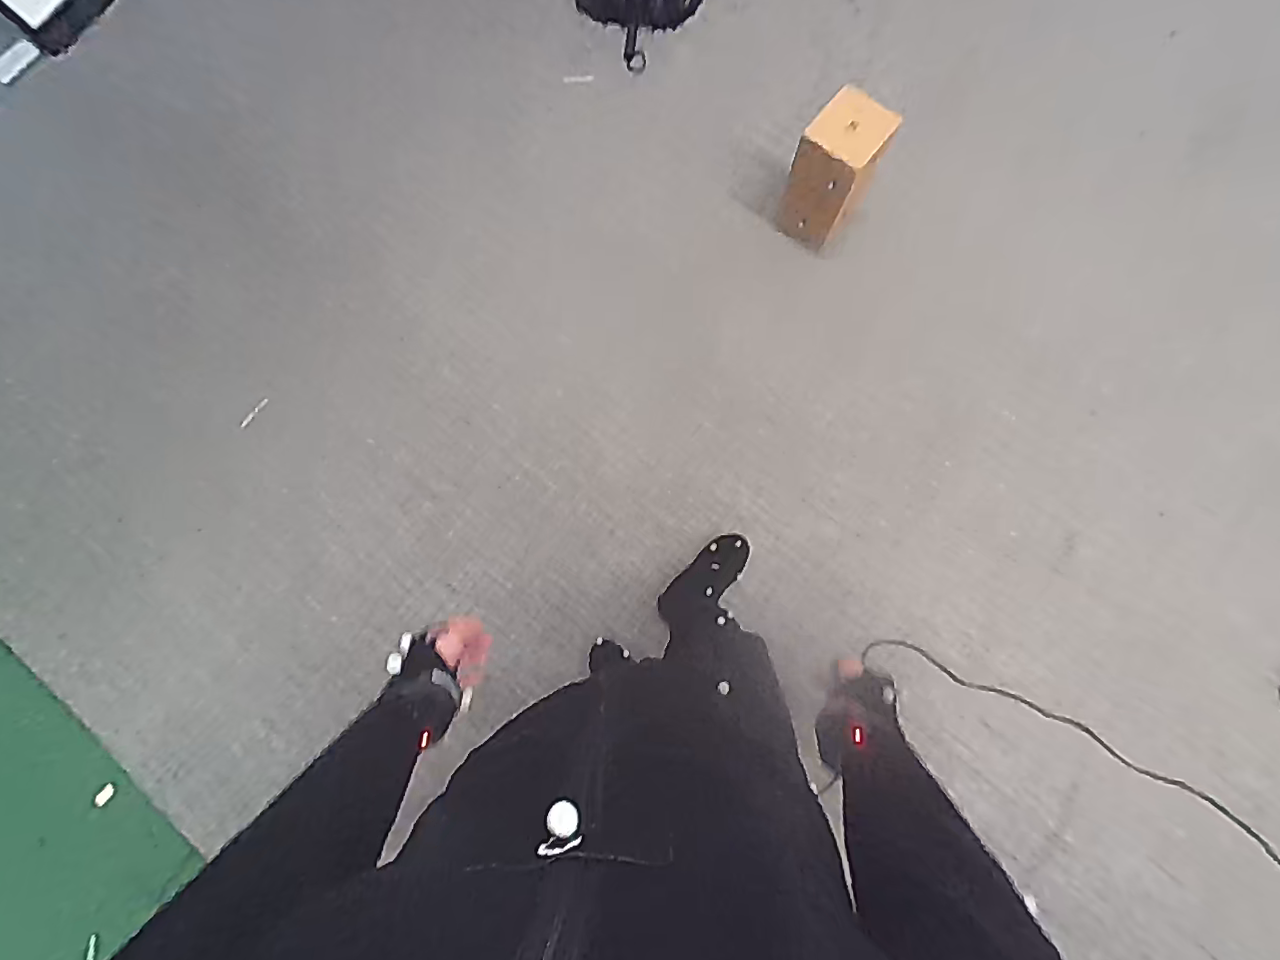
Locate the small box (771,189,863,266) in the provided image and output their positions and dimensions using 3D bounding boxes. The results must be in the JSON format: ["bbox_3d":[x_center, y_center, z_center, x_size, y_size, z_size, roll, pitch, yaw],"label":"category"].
[{"bbox_3d":[0.490,-0.749,1.533,0.168,0.176,0.179,38,83,9],"label":"small box"}]

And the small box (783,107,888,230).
[{"bbox_3d":[0.484,-0.780,1.374,0.168,0.176,0.179,39,81,8],"label":"small box"}]
